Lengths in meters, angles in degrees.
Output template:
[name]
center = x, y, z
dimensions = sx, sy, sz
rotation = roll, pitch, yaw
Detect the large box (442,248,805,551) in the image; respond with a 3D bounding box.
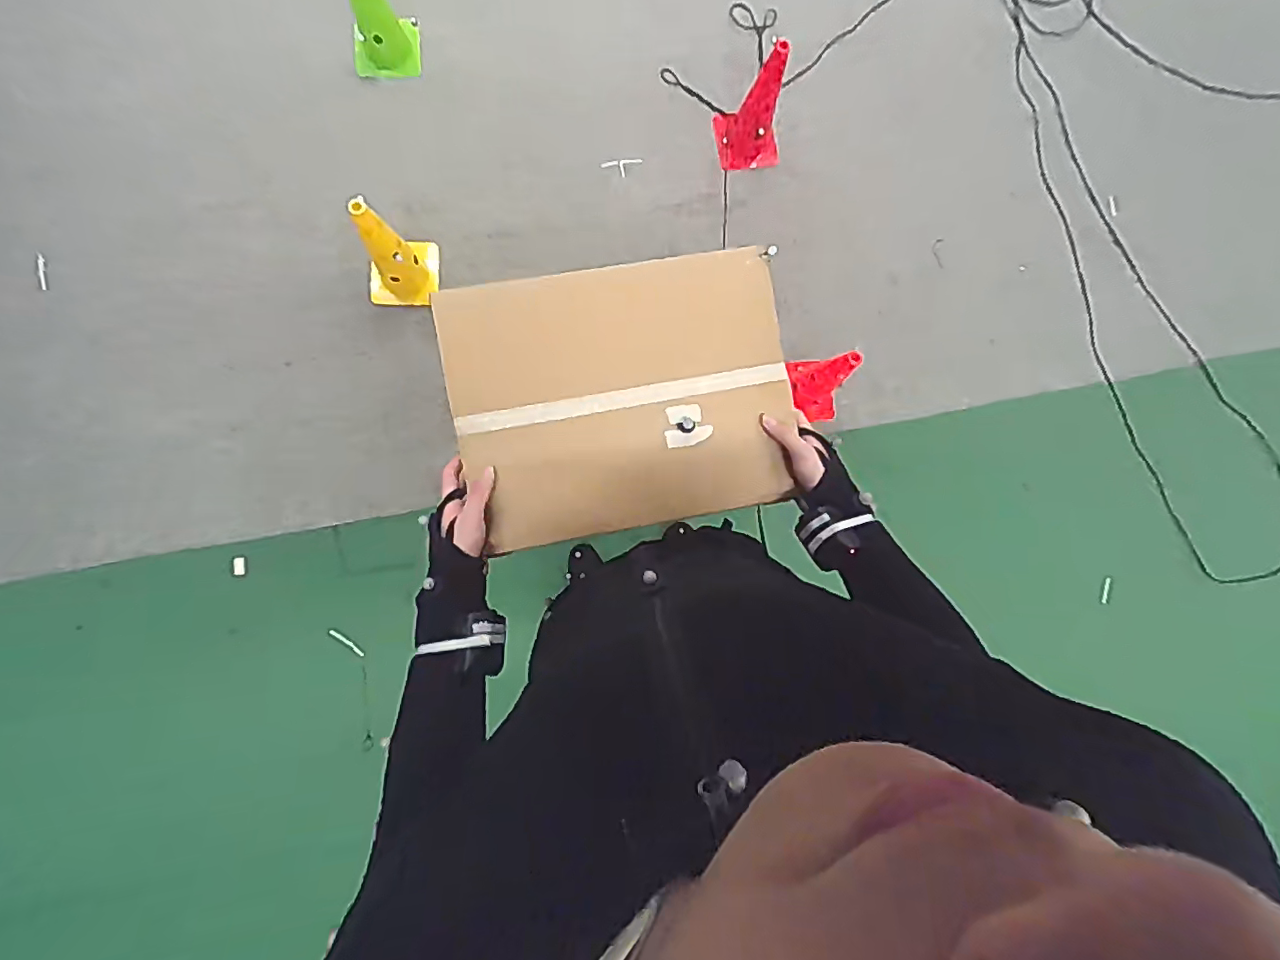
[large box]
center = -0.029, -0.104, 0.804
dimensions = 0.408, 0.320, 0.320
rotation = -11, 93, -6

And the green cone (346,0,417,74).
[green cone]
center = -0.799, -1.392, 1.538
dimensions = 0.200, 0.368, 0.202
rotation = -5, 87, -5

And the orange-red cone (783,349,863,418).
[orange-red cone]
center = 0.542, -0.310, 1.570
dimensions = 0.199, 0.360, 0.198
rotation = -3, 86, -7
